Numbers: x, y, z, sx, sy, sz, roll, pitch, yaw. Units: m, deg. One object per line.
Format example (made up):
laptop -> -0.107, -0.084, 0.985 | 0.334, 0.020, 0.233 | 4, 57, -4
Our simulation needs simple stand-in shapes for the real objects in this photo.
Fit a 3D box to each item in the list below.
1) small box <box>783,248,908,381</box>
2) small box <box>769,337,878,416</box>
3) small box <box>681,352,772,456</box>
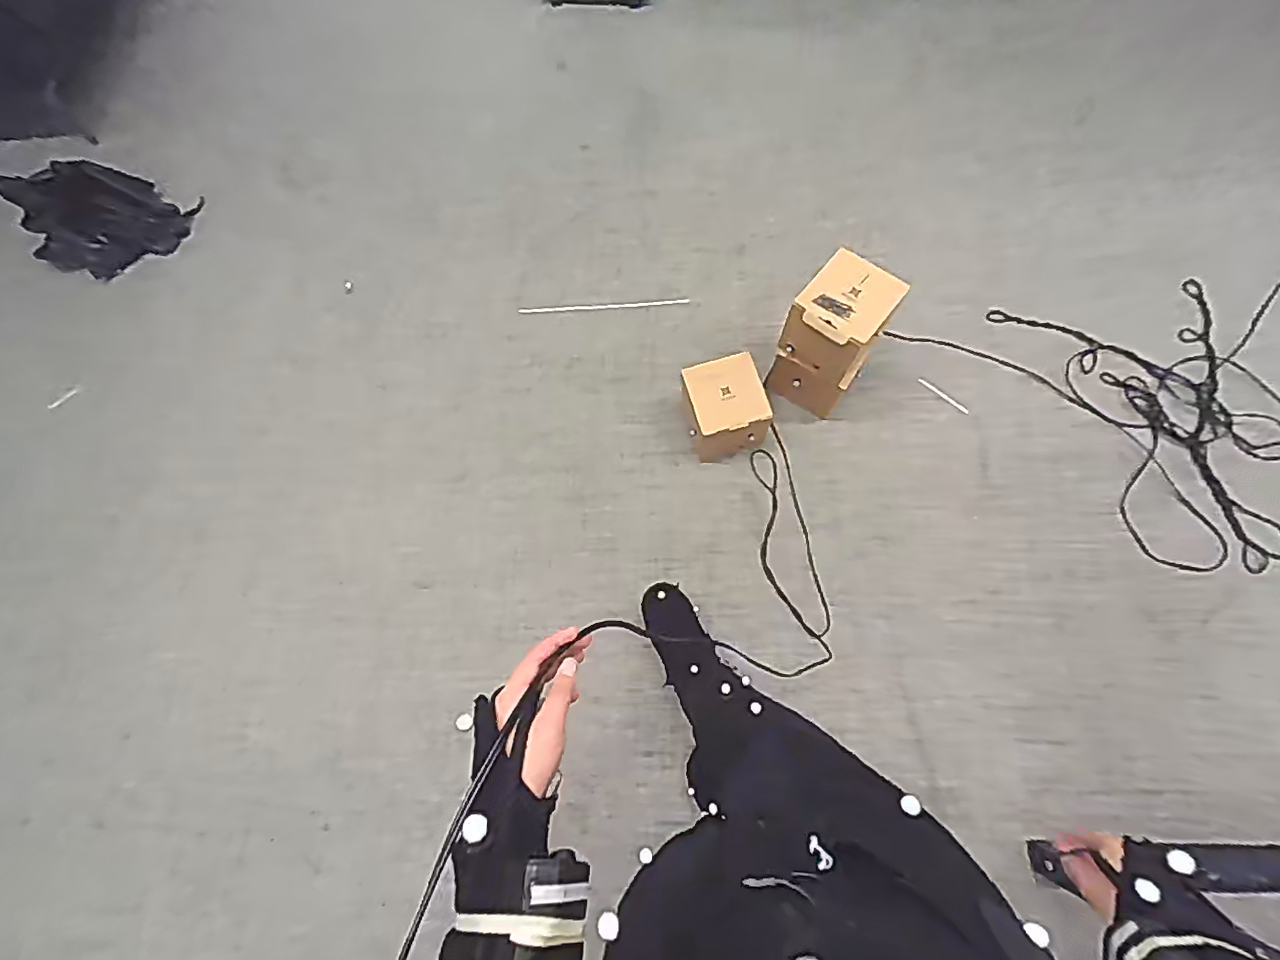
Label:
small box -> 0.426, -0.344, 1.155 | 0.168, 0.176, 0.179 | 38, 78, 14
small box -> 0.434, -0.282, 1.309 | 0.179, 0.176, 0.168 | 33, 77, 14
small box -> 0.200, -0.170, 1.293 | 0.168, 0.176, 0.179 | -16, 71, -2
